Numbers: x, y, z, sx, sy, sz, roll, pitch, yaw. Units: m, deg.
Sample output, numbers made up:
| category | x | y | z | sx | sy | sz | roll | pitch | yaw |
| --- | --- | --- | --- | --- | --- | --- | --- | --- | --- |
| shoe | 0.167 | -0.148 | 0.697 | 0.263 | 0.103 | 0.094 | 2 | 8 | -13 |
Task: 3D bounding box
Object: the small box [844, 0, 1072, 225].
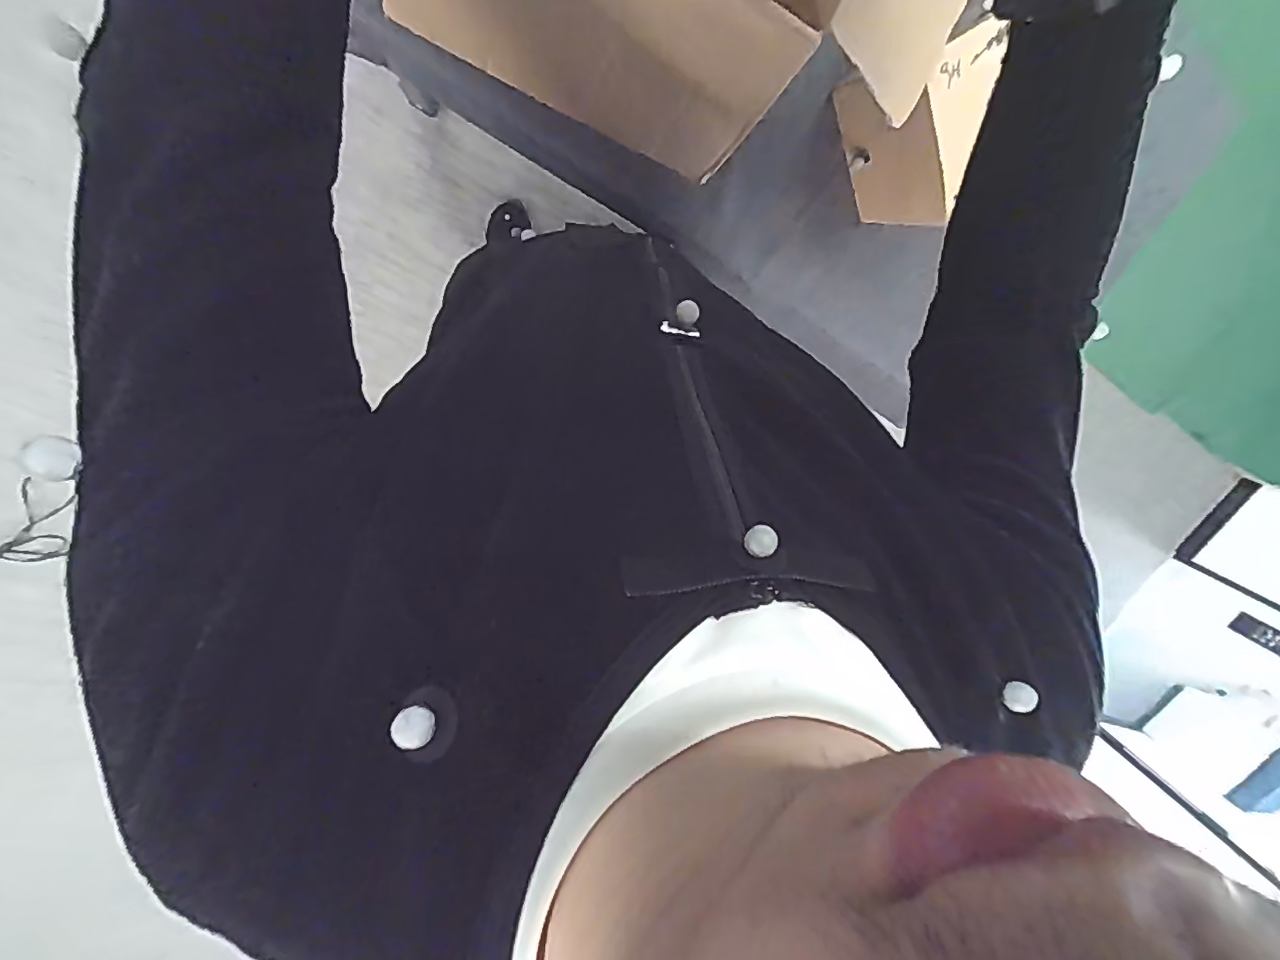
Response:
| category | x | y | z | sx | sy | sz | roll | pitch | yaw |
| --- | --- | --- | --- | --- | --- | --- | --- | --- | --- |
| small box | 0.378 | -0.440 | 0.661 | 0.168 | 0.176 | 0.179 | -28 | 121 | 1 |
